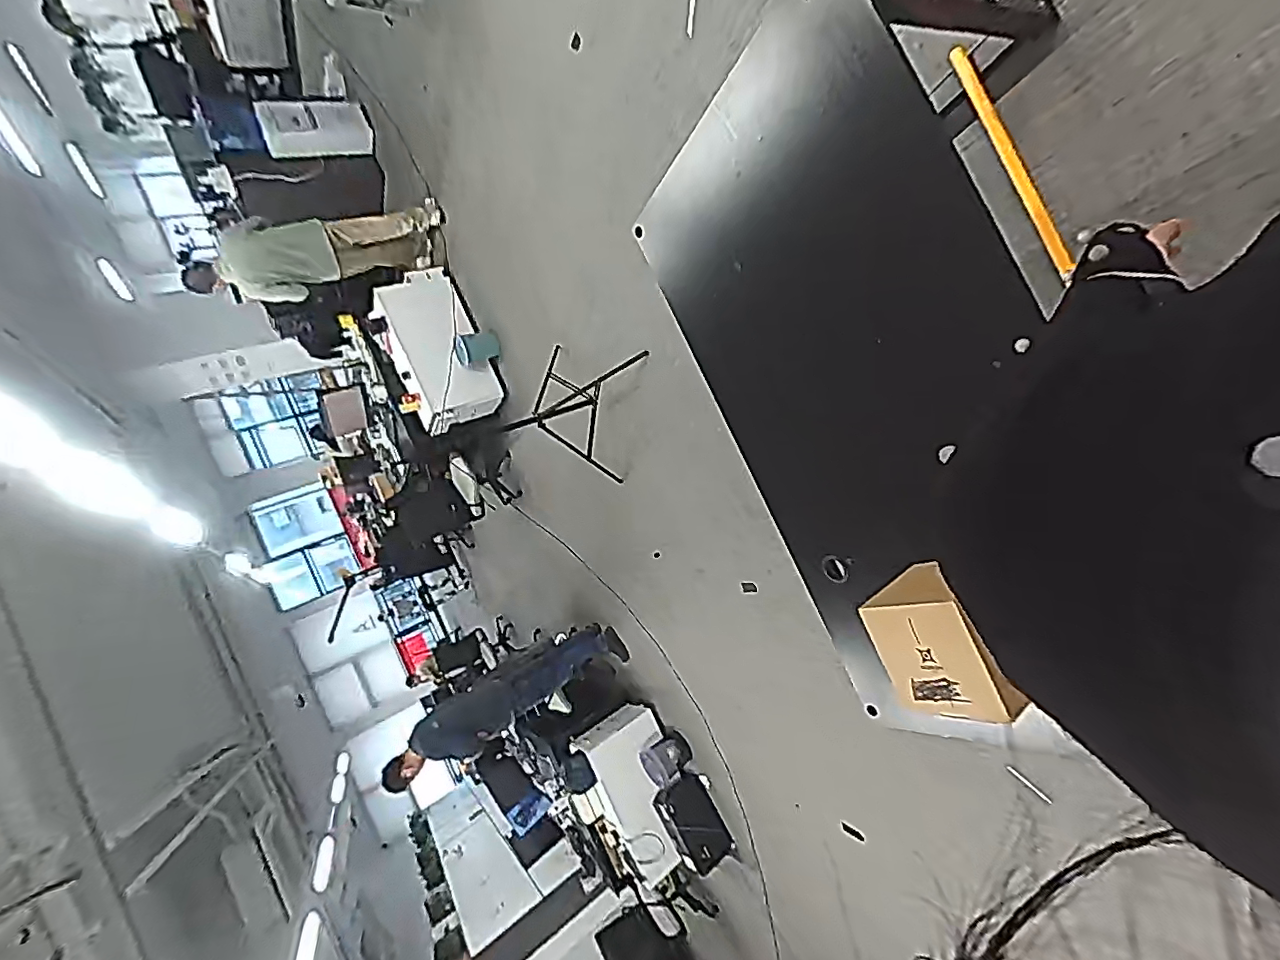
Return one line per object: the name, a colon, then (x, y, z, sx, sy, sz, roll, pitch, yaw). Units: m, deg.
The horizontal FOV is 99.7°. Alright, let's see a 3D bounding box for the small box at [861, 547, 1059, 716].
small box: (0.482, 0.222, 0.817, 0.168, 0.176, 0.179, -31, 83, 60)
